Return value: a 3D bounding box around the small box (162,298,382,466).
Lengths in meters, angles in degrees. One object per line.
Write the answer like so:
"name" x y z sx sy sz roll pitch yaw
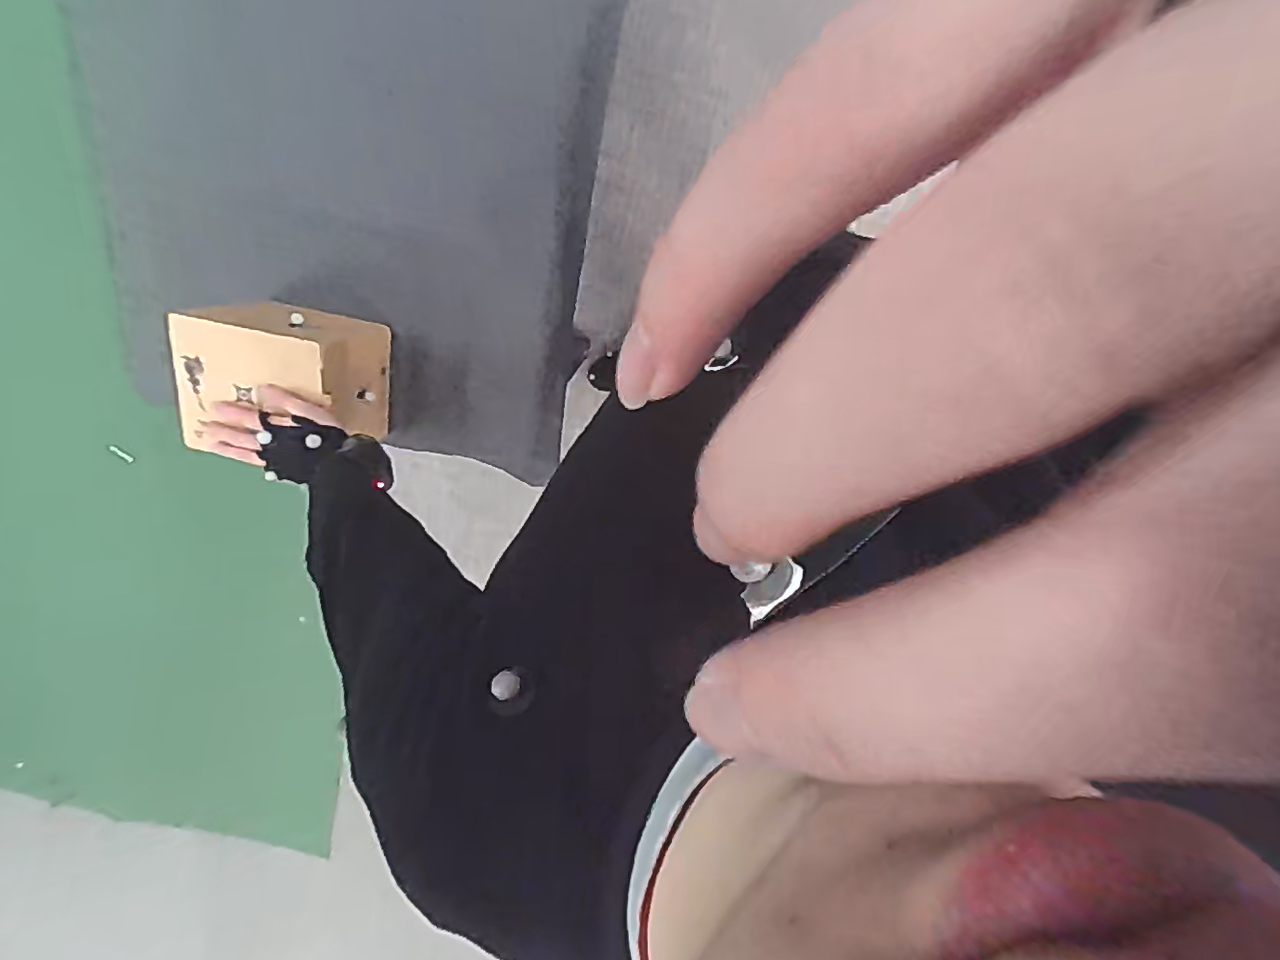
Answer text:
"small box" -0.458 -0.136 0.705 0.179 0.176 0.168 11 112 -3
